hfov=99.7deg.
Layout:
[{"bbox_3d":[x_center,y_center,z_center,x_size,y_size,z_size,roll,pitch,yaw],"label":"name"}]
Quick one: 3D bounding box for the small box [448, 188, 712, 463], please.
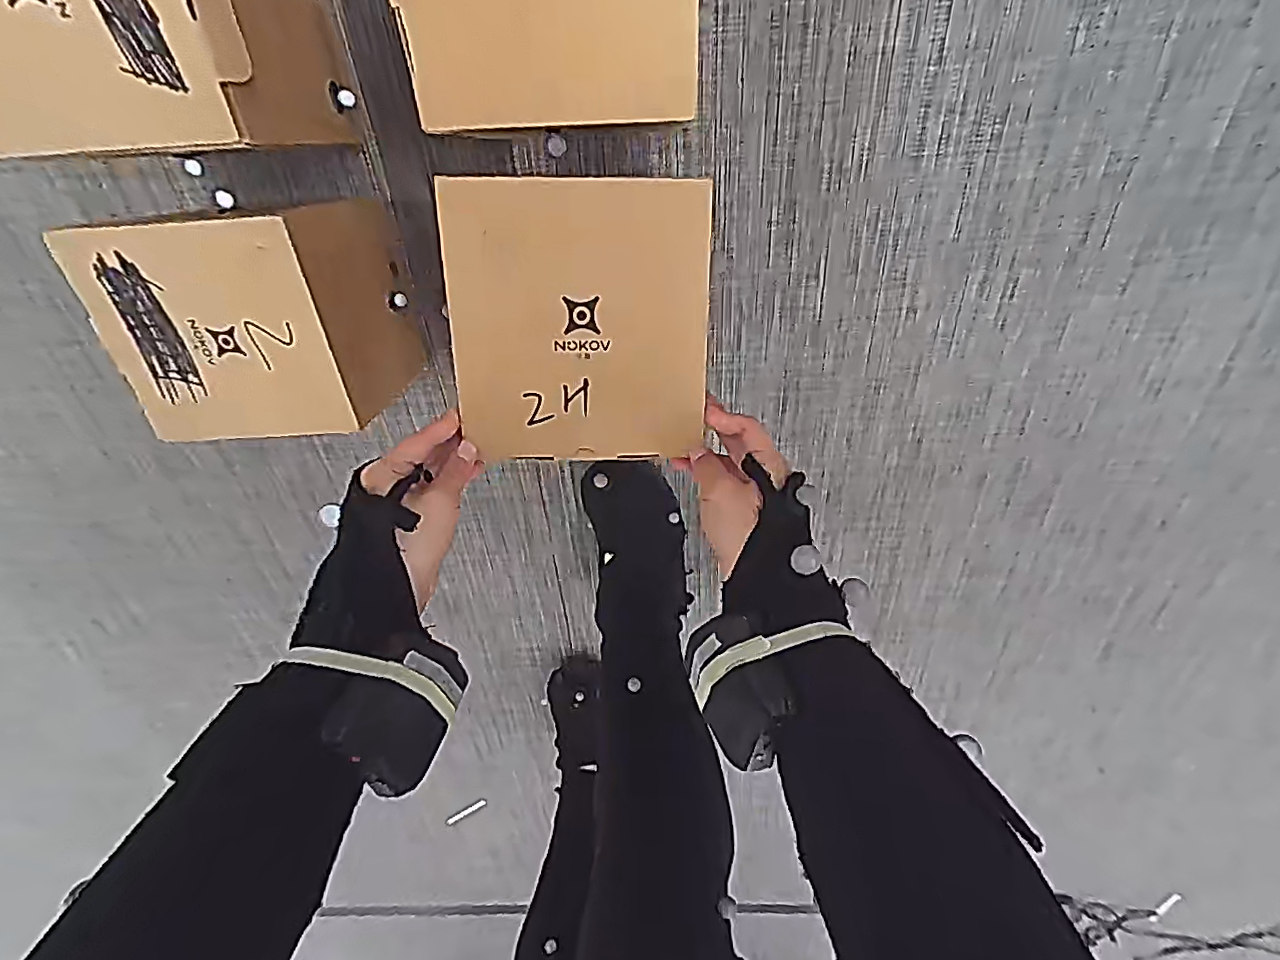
[{"bbox_3d":[-0.041,-0.120,0.432,0.168,0.176,0.179,-1,109,-2],"label":"small box"}]
